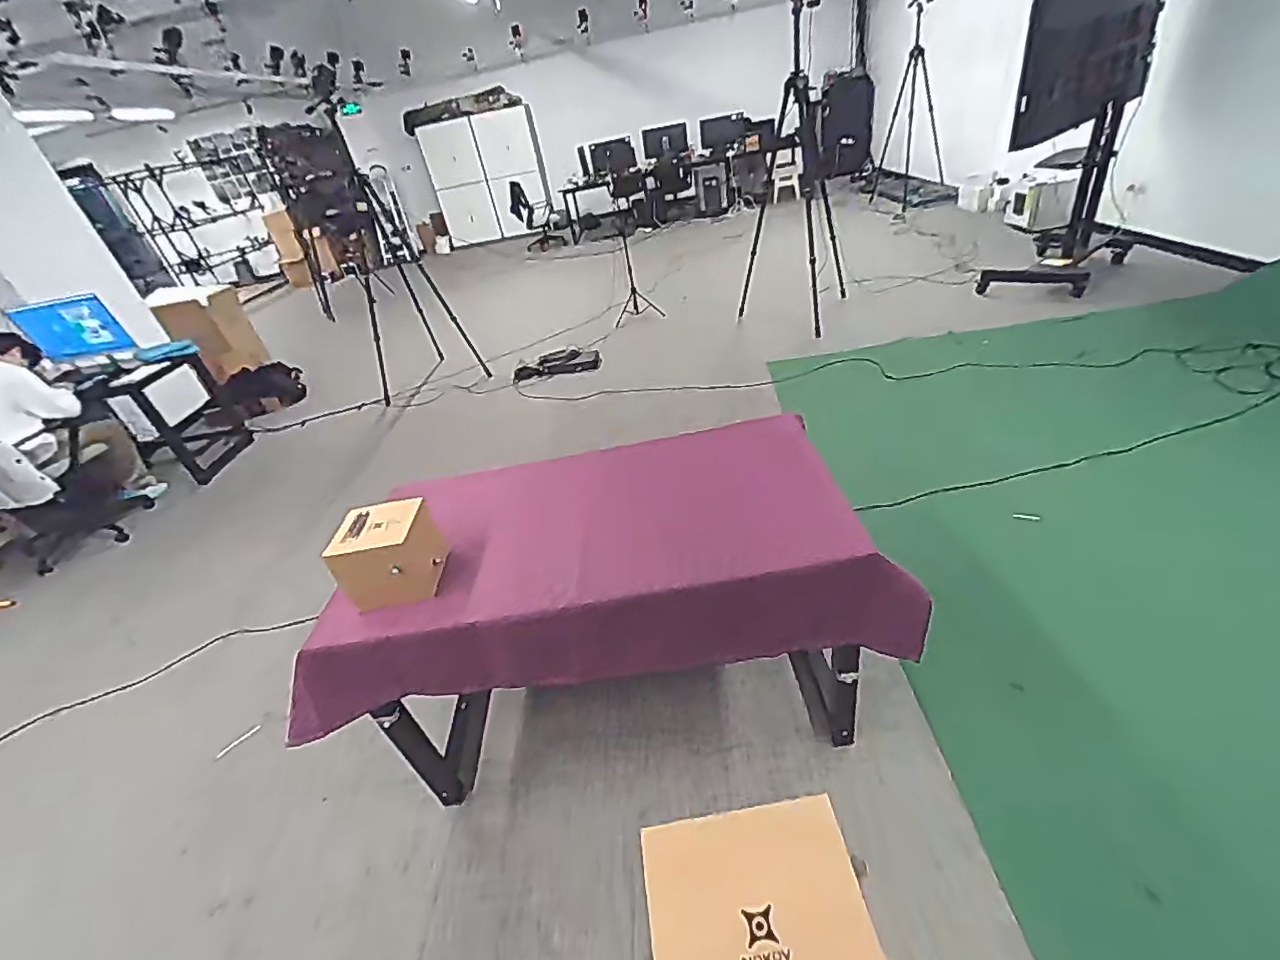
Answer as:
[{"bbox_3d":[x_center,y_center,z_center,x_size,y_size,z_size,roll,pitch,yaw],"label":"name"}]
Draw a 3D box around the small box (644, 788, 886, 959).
[{"bbox_3d":[0.104,0.393,0.455,0.168,0.176,0.179,-12,43,2],"label":"small box"}]
